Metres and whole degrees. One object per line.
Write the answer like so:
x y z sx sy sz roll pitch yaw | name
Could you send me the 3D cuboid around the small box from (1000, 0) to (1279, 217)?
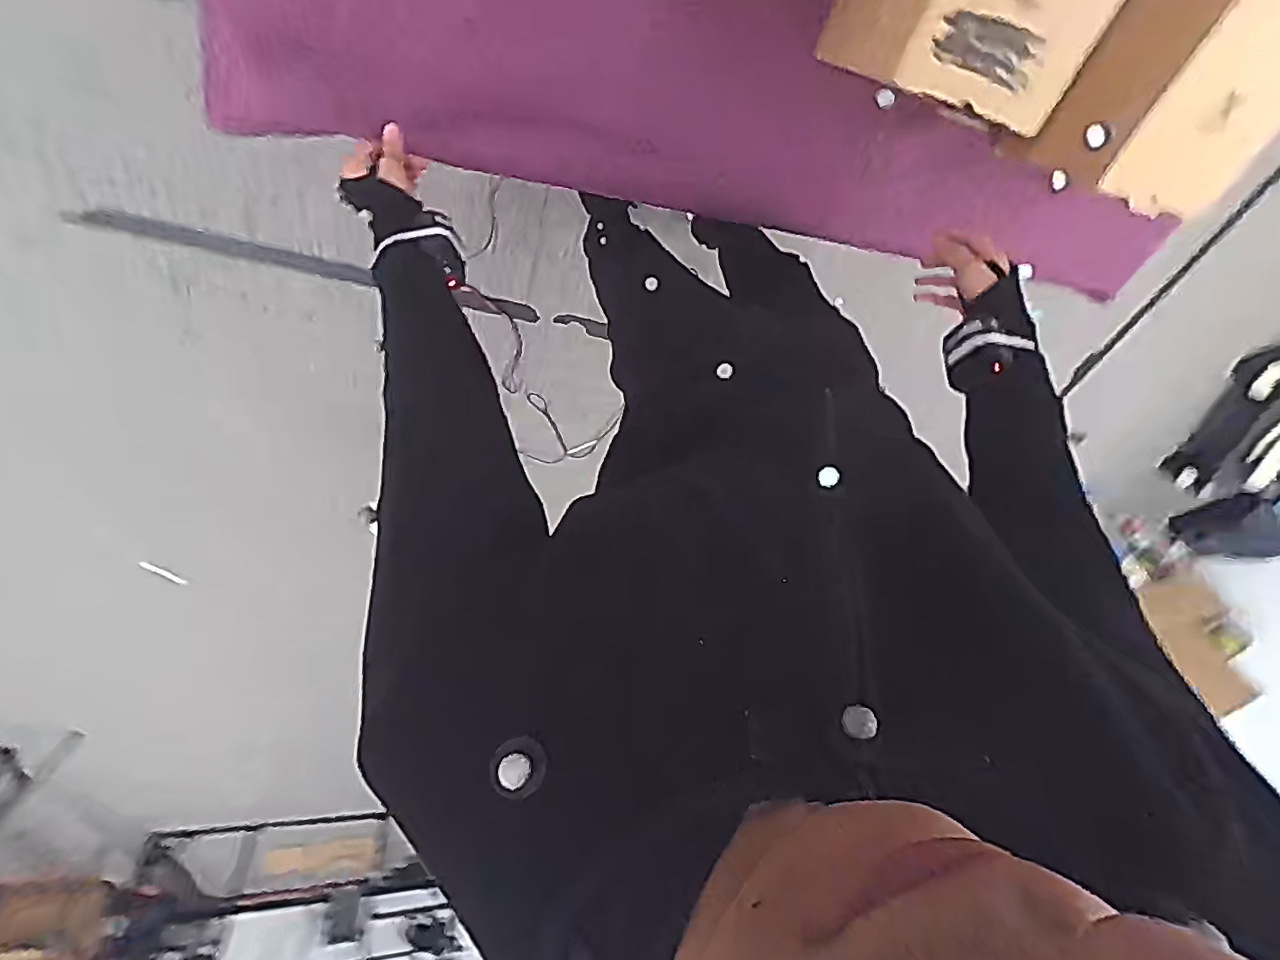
0.543 -0.415 0.578 0.168 0.176 0.179 3 133 -17 | small box
